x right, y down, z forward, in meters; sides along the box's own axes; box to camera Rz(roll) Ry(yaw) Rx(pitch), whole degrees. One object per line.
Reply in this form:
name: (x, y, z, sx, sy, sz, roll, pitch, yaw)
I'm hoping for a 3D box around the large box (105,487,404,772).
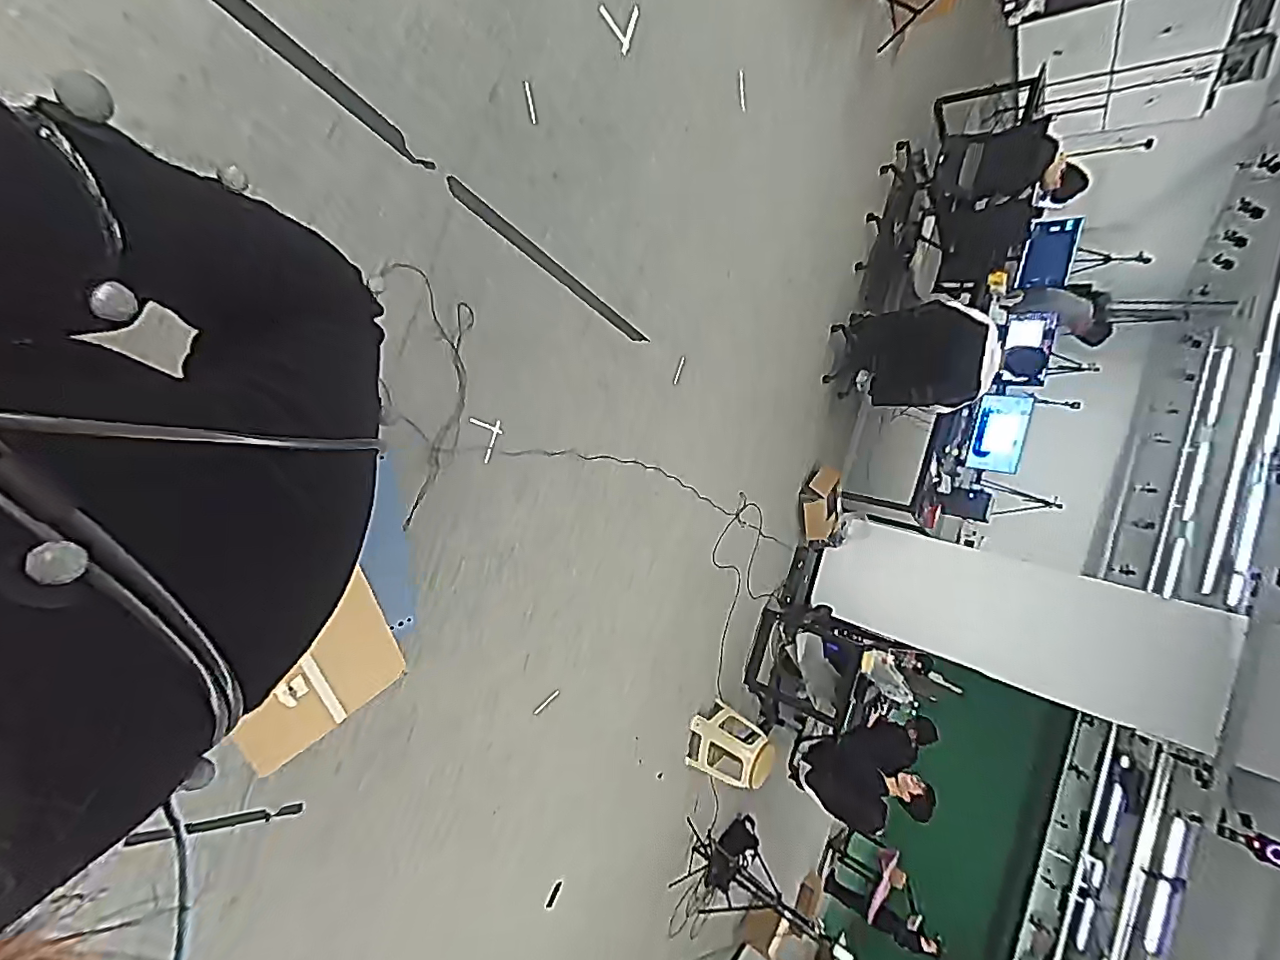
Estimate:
large box: (-0.761, 0.279, 1.101, 0.320, 0.320, 0.408, -34, 128, -39)
